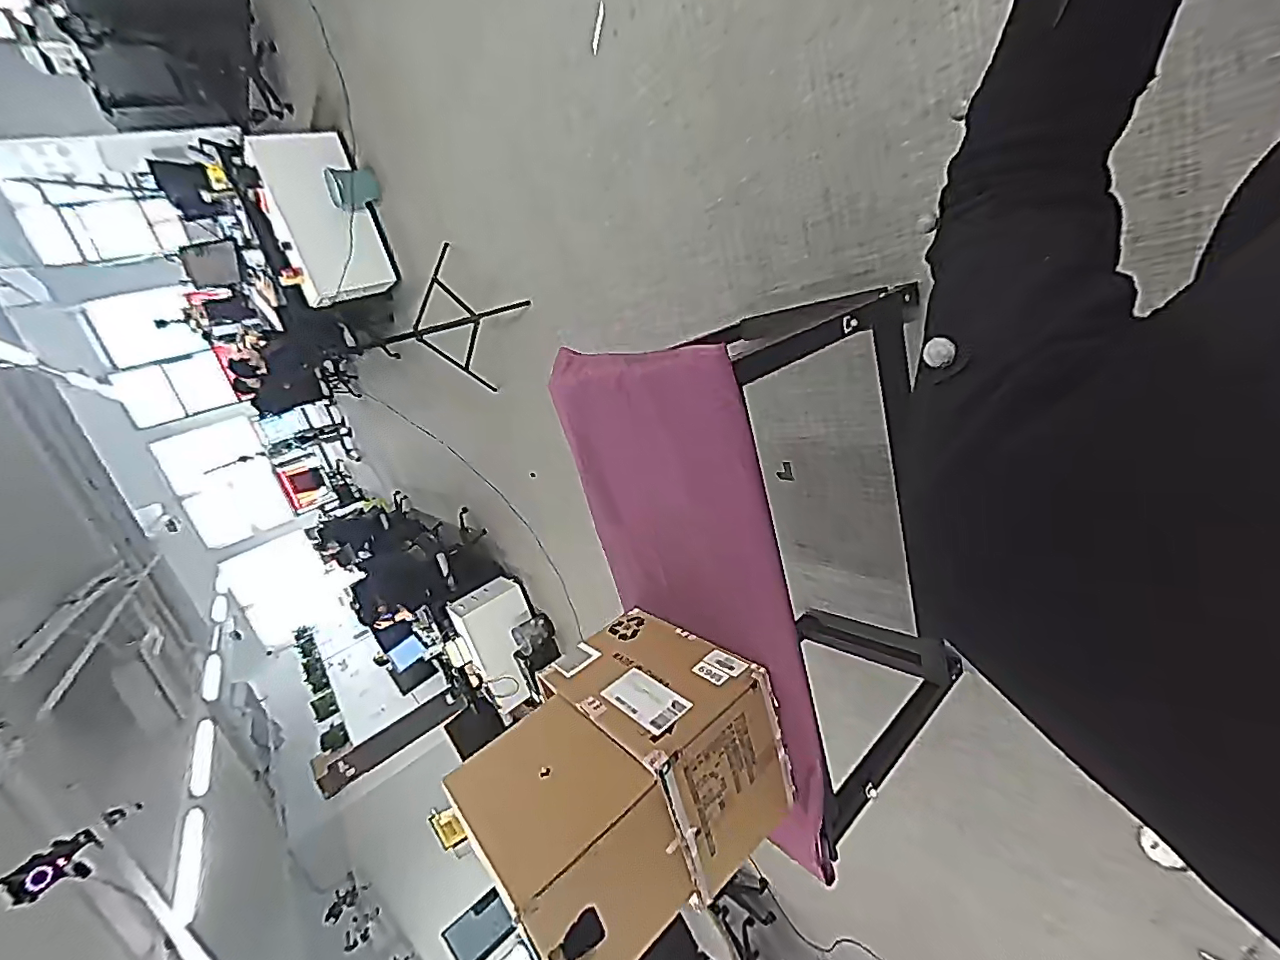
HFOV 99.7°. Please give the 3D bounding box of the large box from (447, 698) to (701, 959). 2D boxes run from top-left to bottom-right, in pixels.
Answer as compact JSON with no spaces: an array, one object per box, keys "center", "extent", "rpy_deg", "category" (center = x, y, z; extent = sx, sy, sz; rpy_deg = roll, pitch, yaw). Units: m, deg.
[{"center":[-0.144,0.731,1.124],"extent":[0.408,0.320,0.320],"rpy_deg":[6,120,53],"category":"large box"}]
